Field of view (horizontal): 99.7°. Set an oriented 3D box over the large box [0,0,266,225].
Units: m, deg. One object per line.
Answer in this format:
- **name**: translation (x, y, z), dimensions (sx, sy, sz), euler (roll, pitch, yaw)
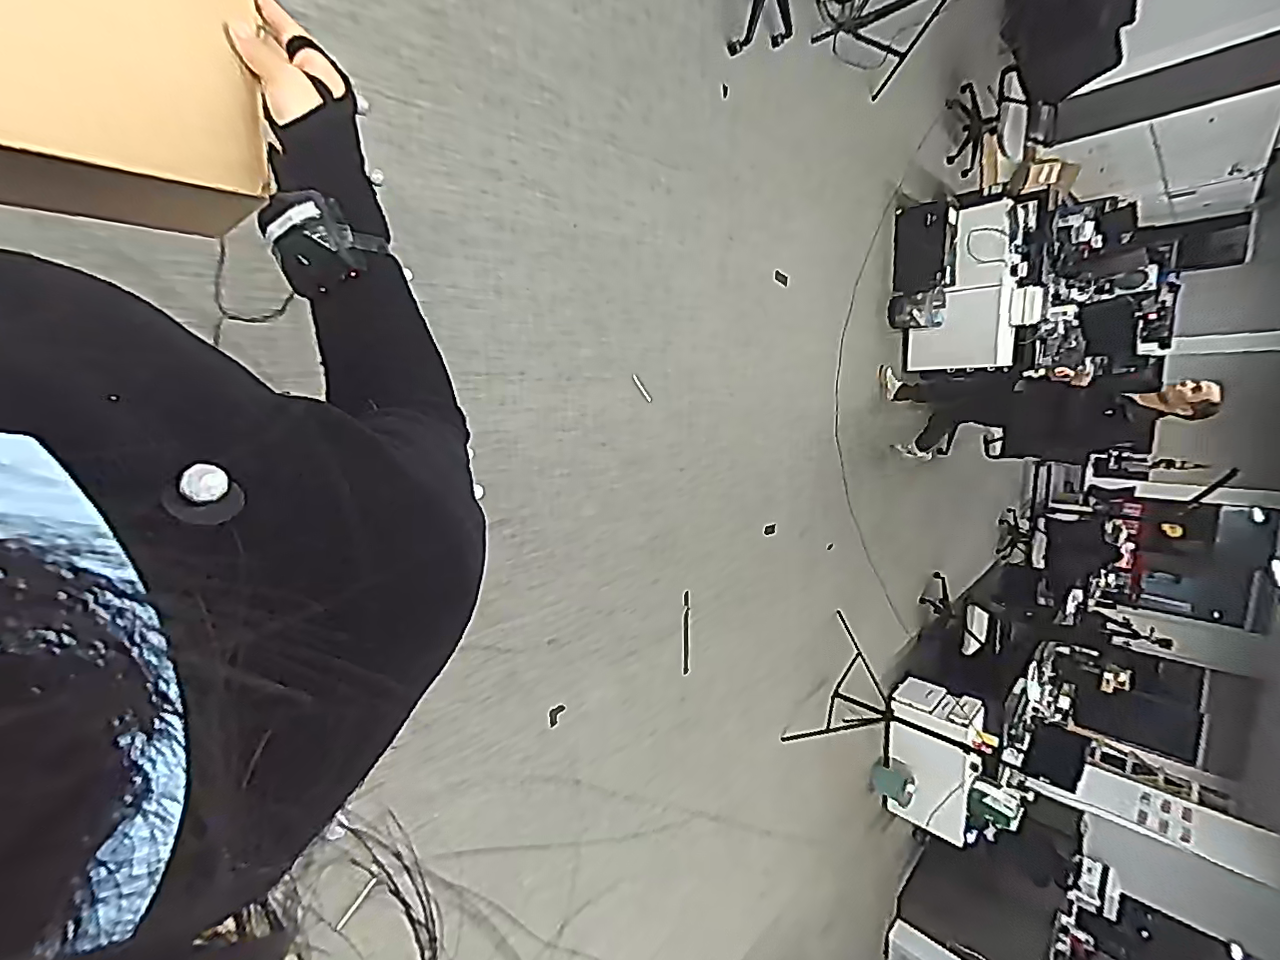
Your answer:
- **large box**: translation (-0.547, -0.394, 0.385), dimensions (0.408, 0.320, 0.320), euler (-9, 108, -42)
